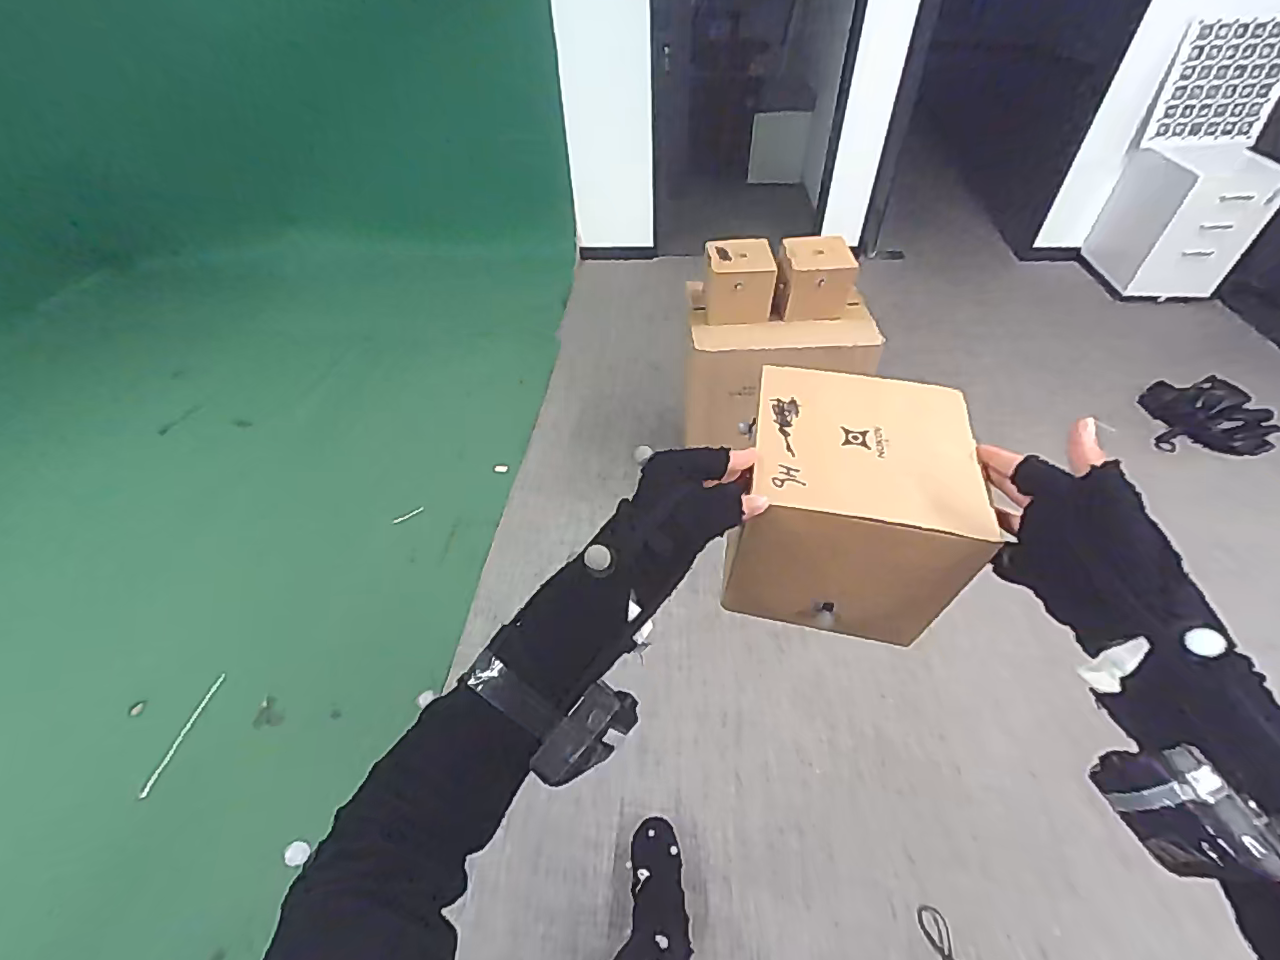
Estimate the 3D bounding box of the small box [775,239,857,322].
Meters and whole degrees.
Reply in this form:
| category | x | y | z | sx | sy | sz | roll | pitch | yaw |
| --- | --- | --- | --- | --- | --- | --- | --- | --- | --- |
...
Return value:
| category | x | y | z | sx | sy | sz | roll | pitch | yaw |
| --- | --- | --- | --- | --- | --- | --- | --- | --- | --- |
| small box | 0.495 | -0.571 | 1.559 | 0.179 | 0.176 | 0.168 | -3 | 53 | -2 |

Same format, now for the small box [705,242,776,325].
| category | x | y | z | sx | sy | sz | roll | pitch | yaw |
| --- | --- | --- | --- | --- | --- | --- | --- | --- | --- |
| small box | 0.281 | -0.564 | 1.558 | 0.179 | 0.176 | 0.168 | -2 | 52 | 0 |

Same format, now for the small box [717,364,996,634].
| category | x | y | z | sx | sy | sz | roll | pitch | yaw |
| --- | --- | --- | --- | --- | --- | --- | --- | --- | --- |
| small box | 0.178 | 0.022 | 0.497 | 0.179 | 0.176 | 0.168 | 11 | 48 | 6 |
